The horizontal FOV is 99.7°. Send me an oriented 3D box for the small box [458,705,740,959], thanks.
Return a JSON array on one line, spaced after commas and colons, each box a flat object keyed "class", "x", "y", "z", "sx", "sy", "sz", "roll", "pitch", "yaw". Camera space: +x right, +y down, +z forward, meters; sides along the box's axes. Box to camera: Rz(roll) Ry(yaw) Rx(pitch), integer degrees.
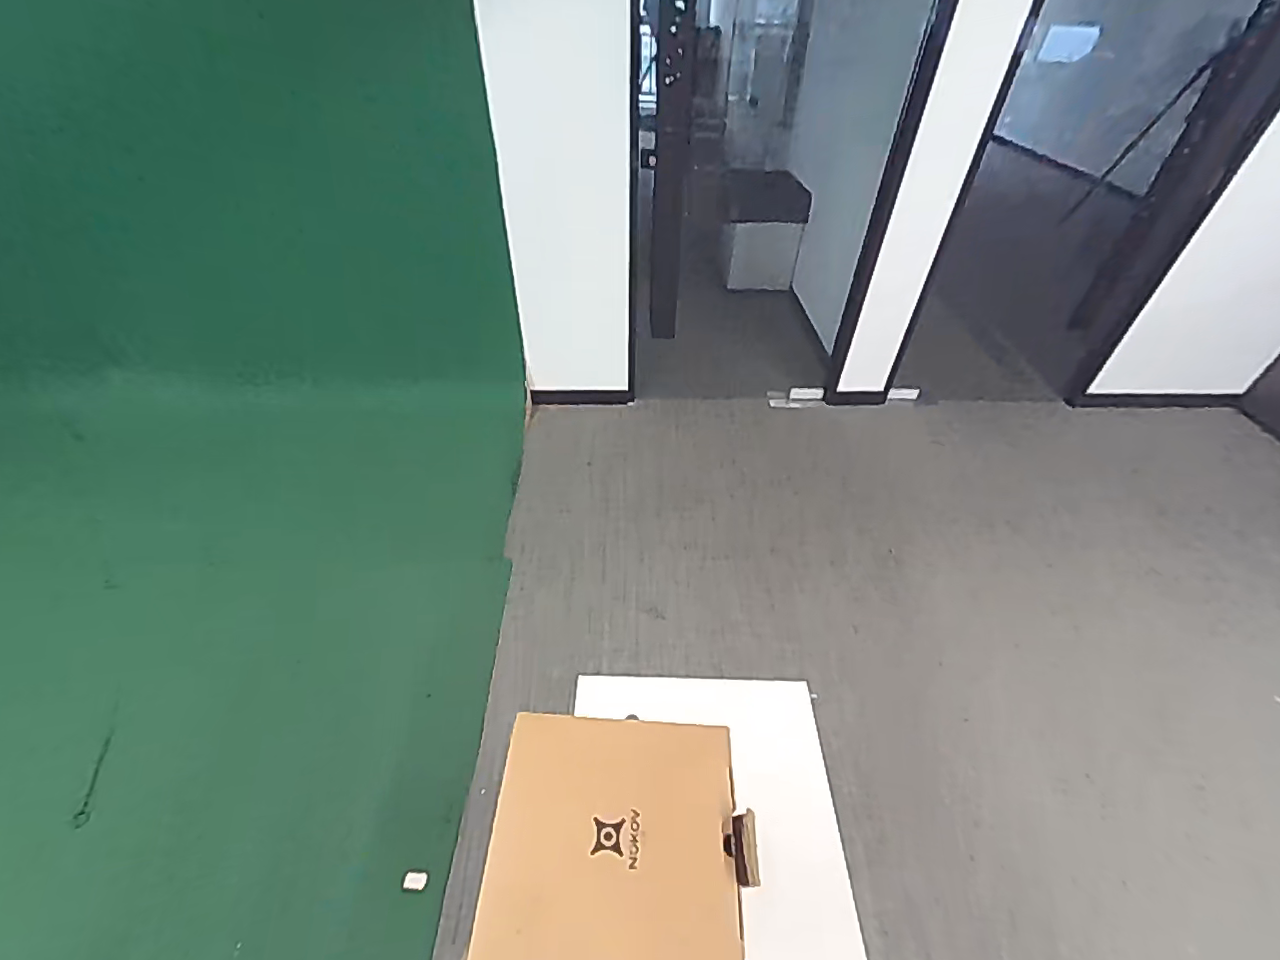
[{"class": "small box", "x": -0.025, "y": 0.301, "z": 0.438, "sx": 0.179, "sy": 0.176, "sz": 0.168, "roll": 4, "pitch": 46, "yaw": -1}]
